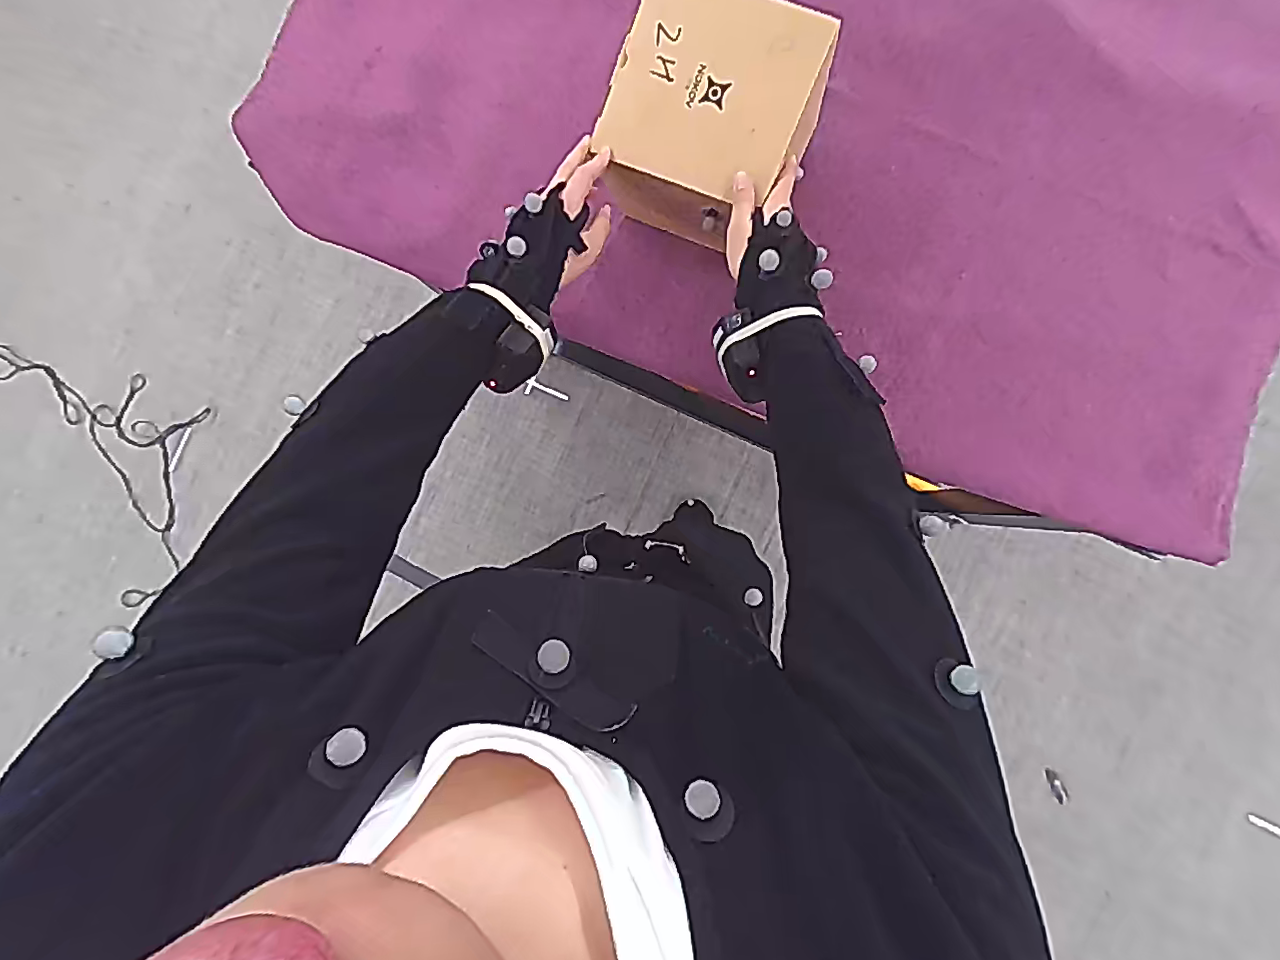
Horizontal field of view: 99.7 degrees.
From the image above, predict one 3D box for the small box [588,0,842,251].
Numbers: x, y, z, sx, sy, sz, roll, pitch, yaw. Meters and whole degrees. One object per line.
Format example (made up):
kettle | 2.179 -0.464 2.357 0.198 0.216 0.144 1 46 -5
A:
small box | 0.075 -0.355 0.550 0.179 0.176 0.168 24 100 7
